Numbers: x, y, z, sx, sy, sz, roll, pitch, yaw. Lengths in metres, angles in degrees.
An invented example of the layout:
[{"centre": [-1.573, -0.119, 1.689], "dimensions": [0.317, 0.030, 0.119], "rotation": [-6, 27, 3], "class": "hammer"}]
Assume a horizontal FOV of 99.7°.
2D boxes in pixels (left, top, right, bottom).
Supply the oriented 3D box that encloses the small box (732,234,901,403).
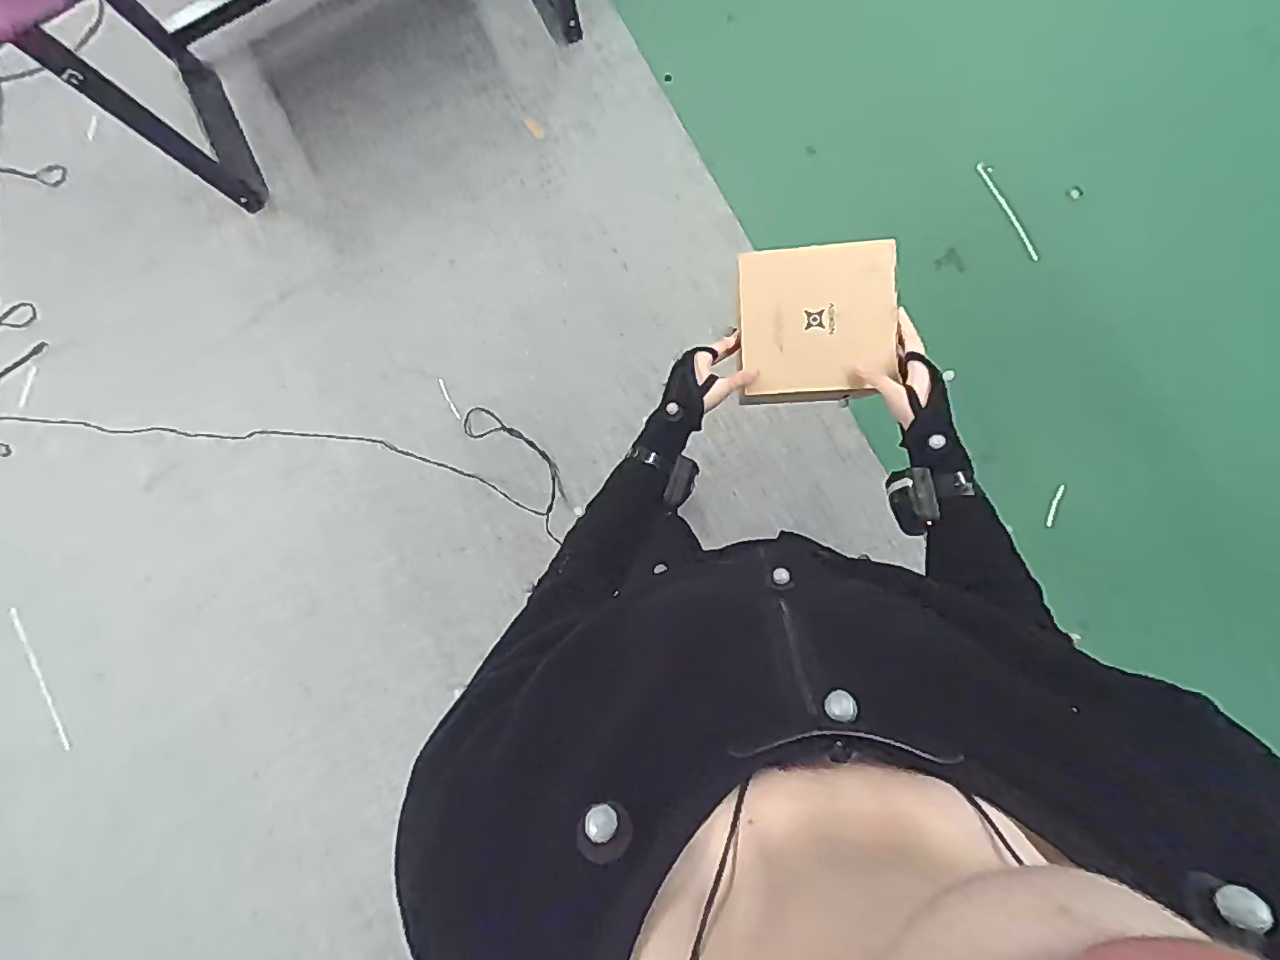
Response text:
[{"centre": [0.208, -0.189, 0.680], "dimensions": [0.179, 0.176, 0.168], "rotation": [-1, 92, 8], "class": "small box"}]
